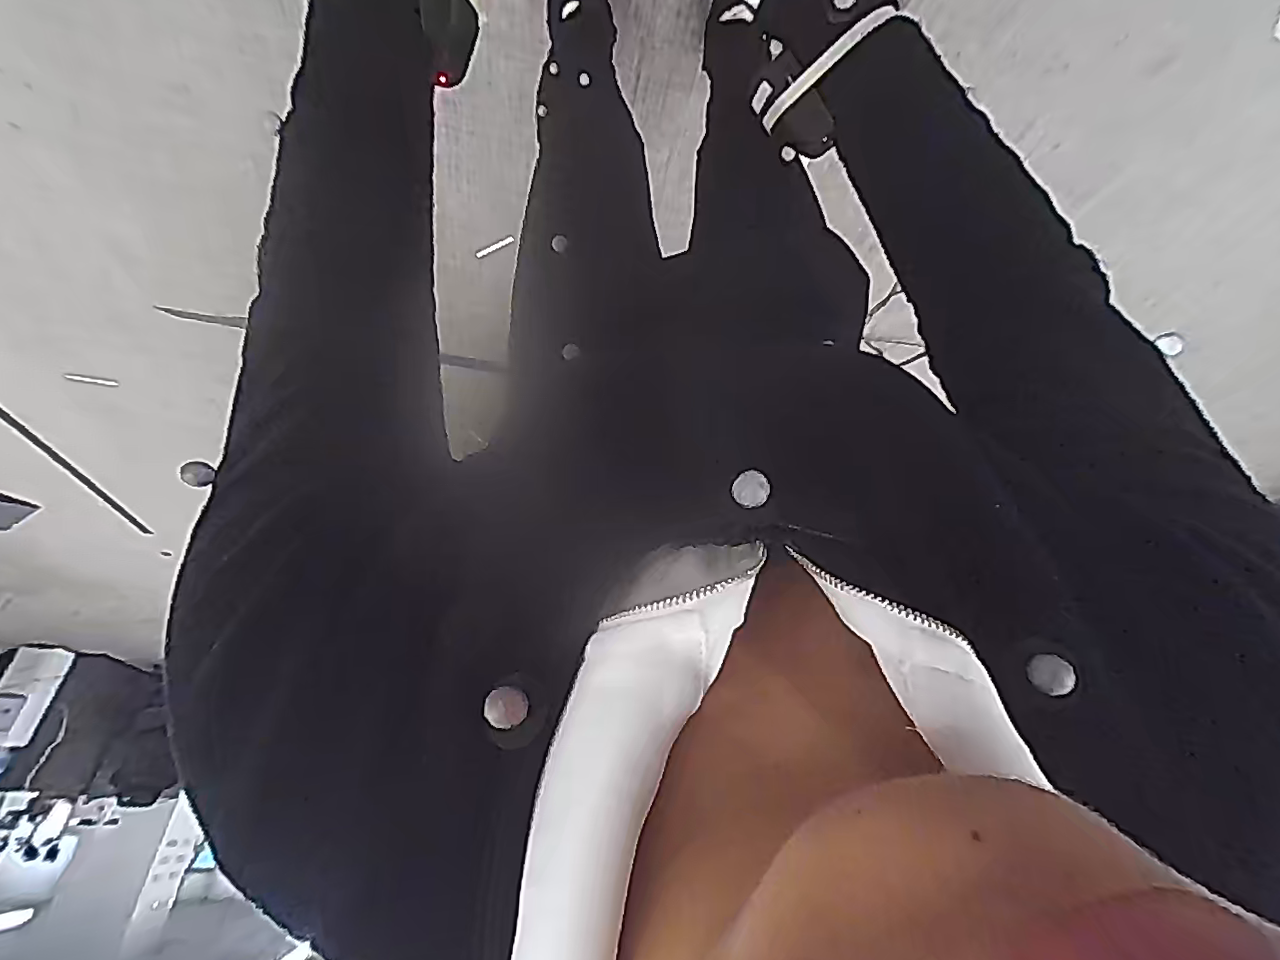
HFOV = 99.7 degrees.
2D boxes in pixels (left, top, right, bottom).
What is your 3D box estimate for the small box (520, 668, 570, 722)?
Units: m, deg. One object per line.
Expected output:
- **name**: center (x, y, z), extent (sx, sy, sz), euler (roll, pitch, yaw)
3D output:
- **small box**: center (-0.372, 0.845, 2.127), extent (0.179, 0.176, 0.168), euler (4, 148, -7)
